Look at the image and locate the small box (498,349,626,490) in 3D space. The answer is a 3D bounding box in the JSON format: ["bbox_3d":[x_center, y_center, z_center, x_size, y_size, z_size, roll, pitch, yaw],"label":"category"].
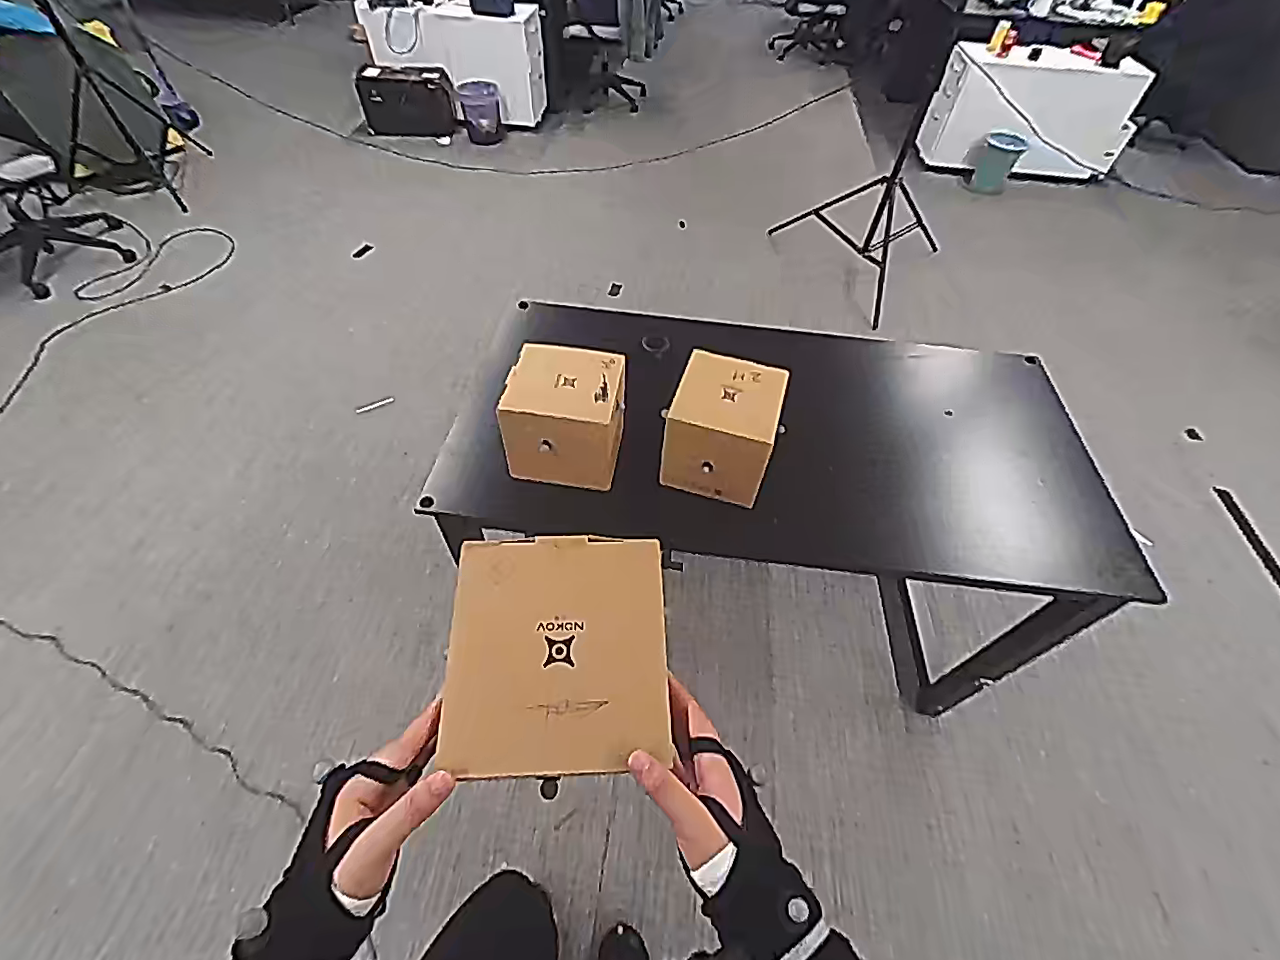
[{"bbox_3d":[-0.123,-0.100,0.928,0.179,0.176,0.168,7,51,3],"label":"small box"}]

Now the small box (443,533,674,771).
[{"bbox_3d":[-0.066,0.161,0.490,0.168,0.176,0.179,0,62,-5],"label":"small box"}]

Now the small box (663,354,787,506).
[{"bbox_3d":[0.140,-0.082,0.926,0.168,0.176,0.179,16,52,9],"label":"small box"}]
